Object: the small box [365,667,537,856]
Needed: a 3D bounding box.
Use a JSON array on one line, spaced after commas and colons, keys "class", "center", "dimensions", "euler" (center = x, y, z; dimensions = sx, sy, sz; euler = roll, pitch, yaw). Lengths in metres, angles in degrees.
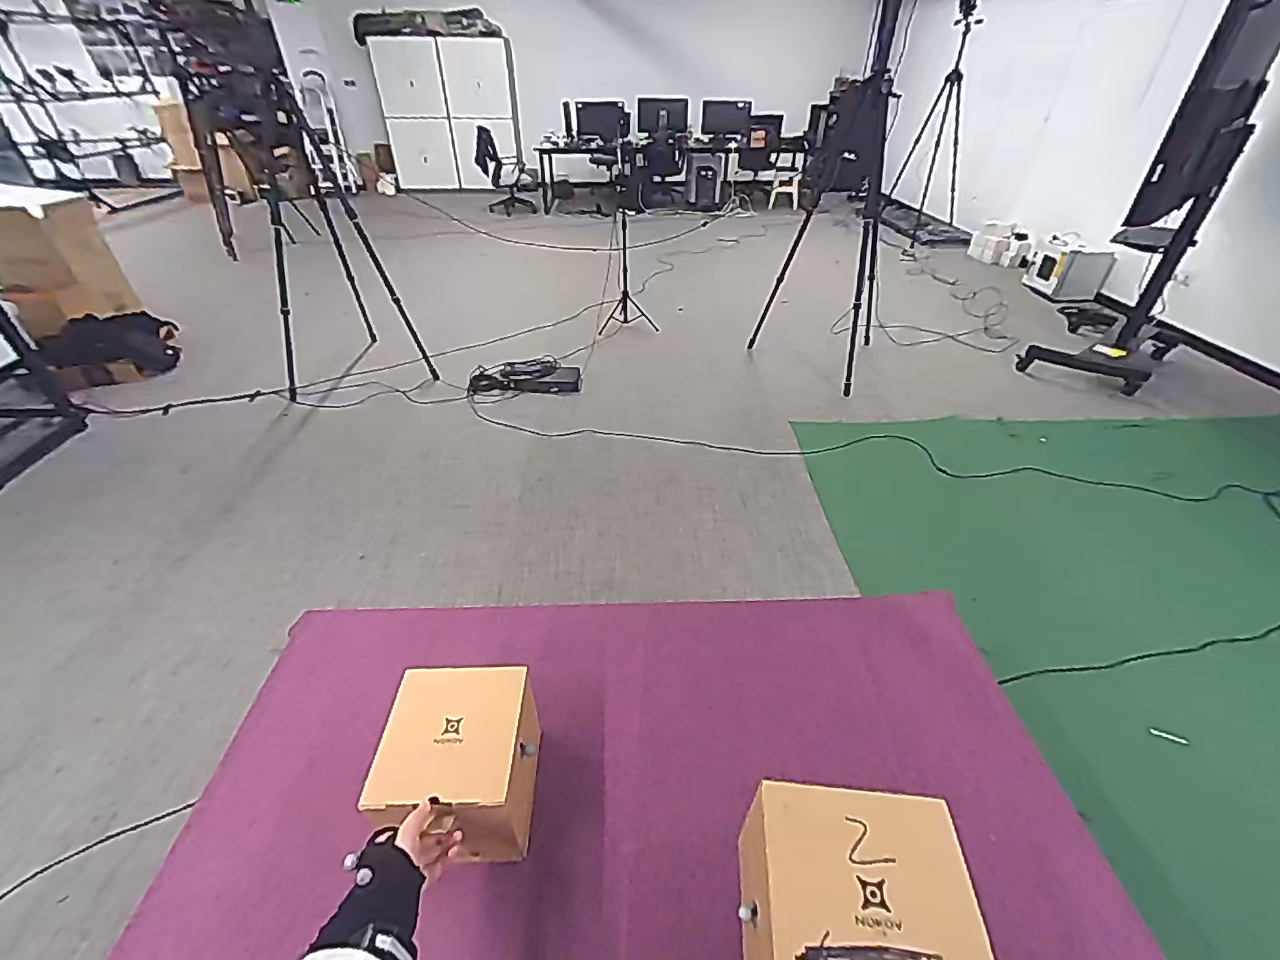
[{"class": "small box", "center": [-0.236, 0.377, 0.730], "dimensions": [0.168, 0.176, 0.179], "euler": [0, 38, -1]}]
